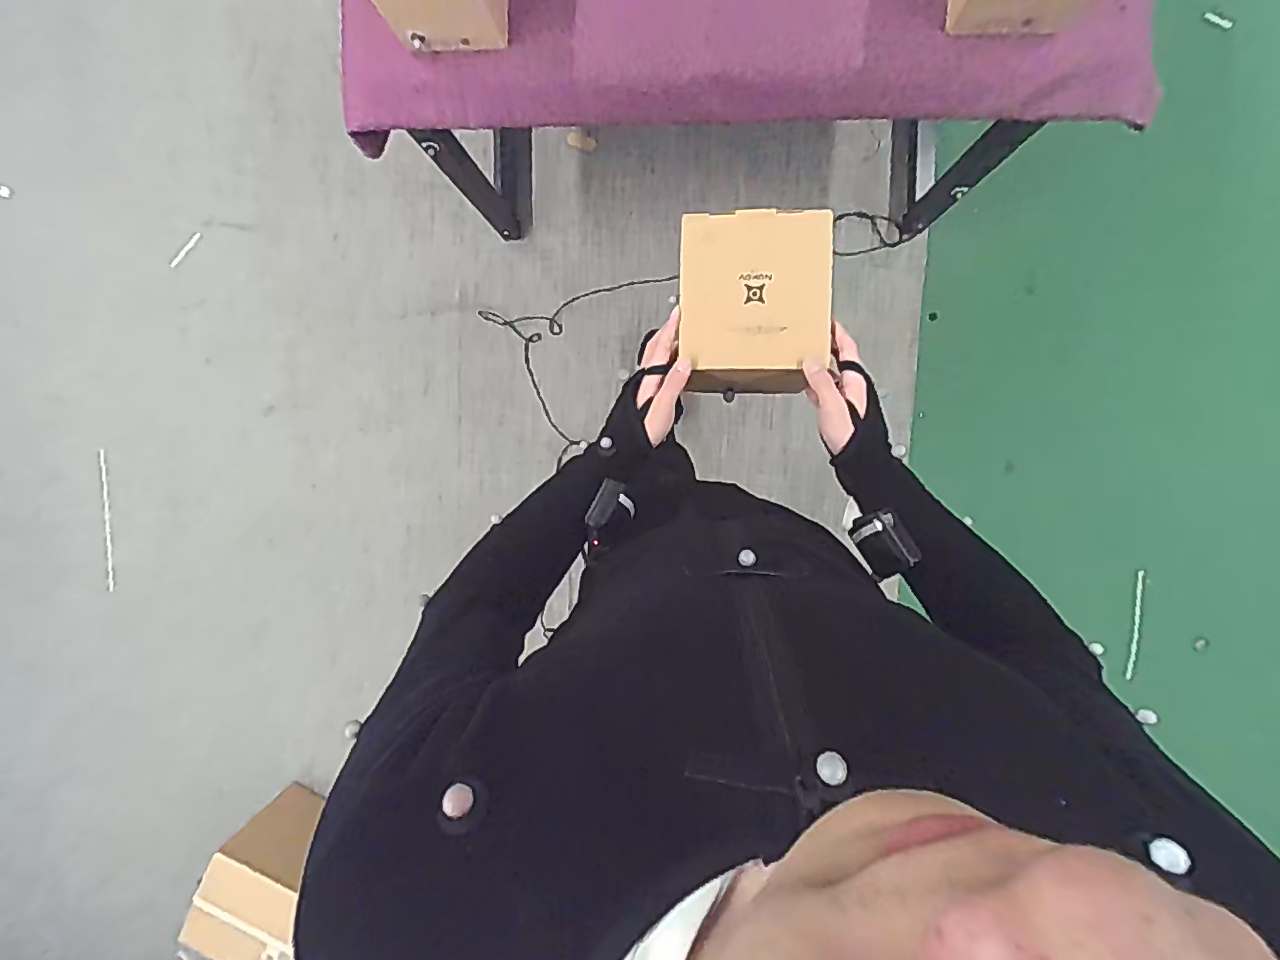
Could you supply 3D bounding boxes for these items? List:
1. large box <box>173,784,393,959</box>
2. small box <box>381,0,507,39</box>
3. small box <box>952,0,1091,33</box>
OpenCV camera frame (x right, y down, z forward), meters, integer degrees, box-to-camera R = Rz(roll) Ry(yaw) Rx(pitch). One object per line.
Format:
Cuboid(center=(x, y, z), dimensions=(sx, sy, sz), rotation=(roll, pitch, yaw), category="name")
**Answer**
Cuboid(center=(-1.050, 1.217, 1.632), dimensions=(0.408, 0.320, 0.320), rotation=(26, 96, 1), category="large box")
Cuboid(center=(-0.287, -0.758, 0.752), dimensions=(0.168, 0.176, 0.179), rotation=(2, 94, 3), category="small box")
Cuboid(center=(0.527, -0.729, 0.693), dimensions=(0.168, 0.176, 0.179), rotation=(4, 92, 5), category="small box")
